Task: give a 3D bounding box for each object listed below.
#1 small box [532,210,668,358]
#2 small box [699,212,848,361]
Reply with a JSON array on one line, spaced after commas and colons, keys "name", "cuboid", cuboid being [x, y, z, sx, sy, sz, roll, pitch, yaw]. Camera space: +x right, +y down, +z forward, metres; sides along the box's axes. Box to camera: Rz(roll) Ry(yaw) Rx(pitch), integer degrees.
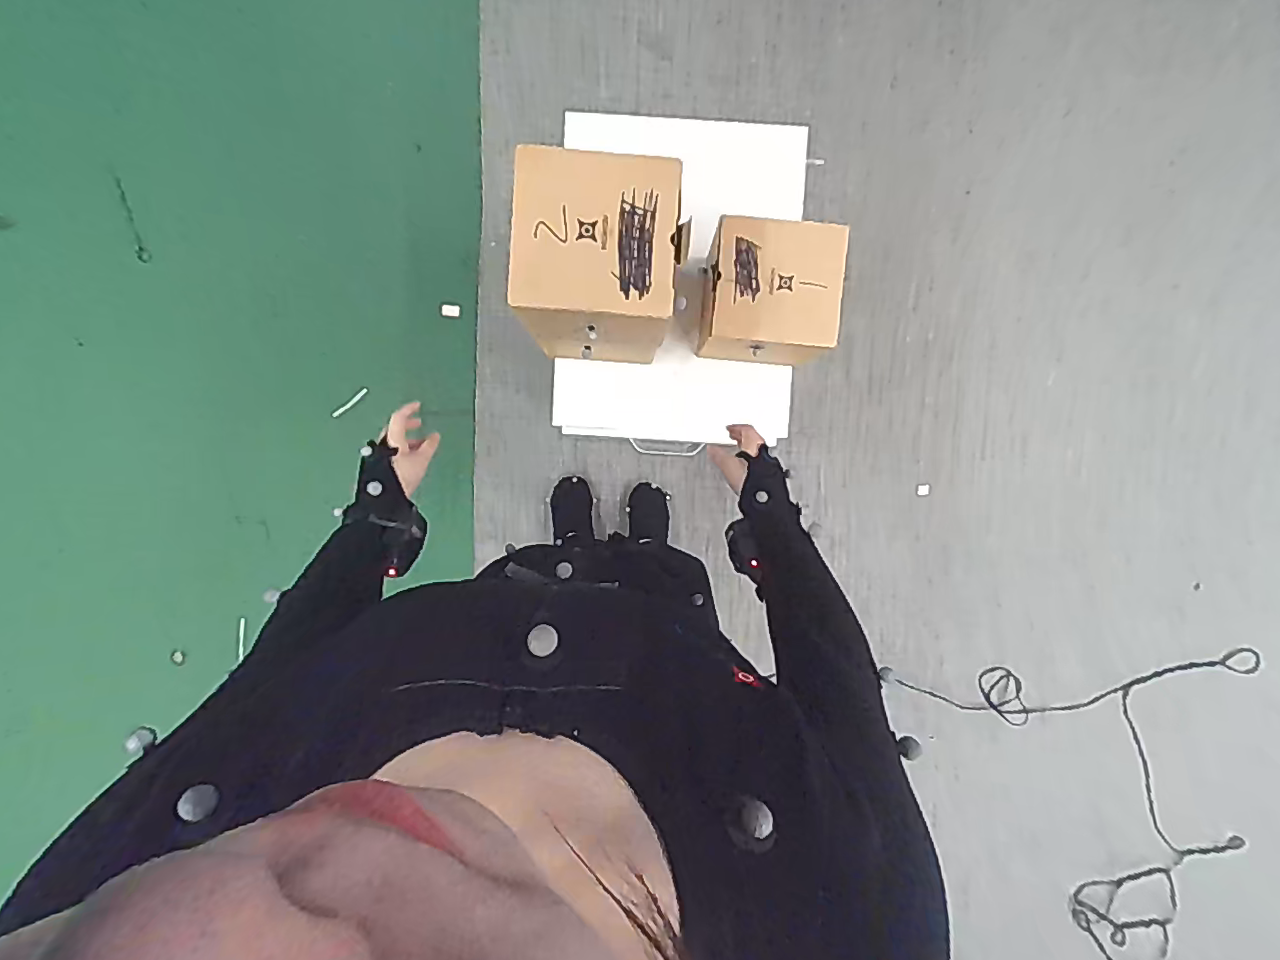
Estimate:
[{"name": "small box", "cuboid": [-0.056, -0.281, 0.810, 0.179, 0.176, 0.168, 4, 94, -2]}, {"name": "small box", "cuboid": [0.188, -0.279, 0.815, 0.179, 0.176, 0.168, 5, 93, -1]}]
